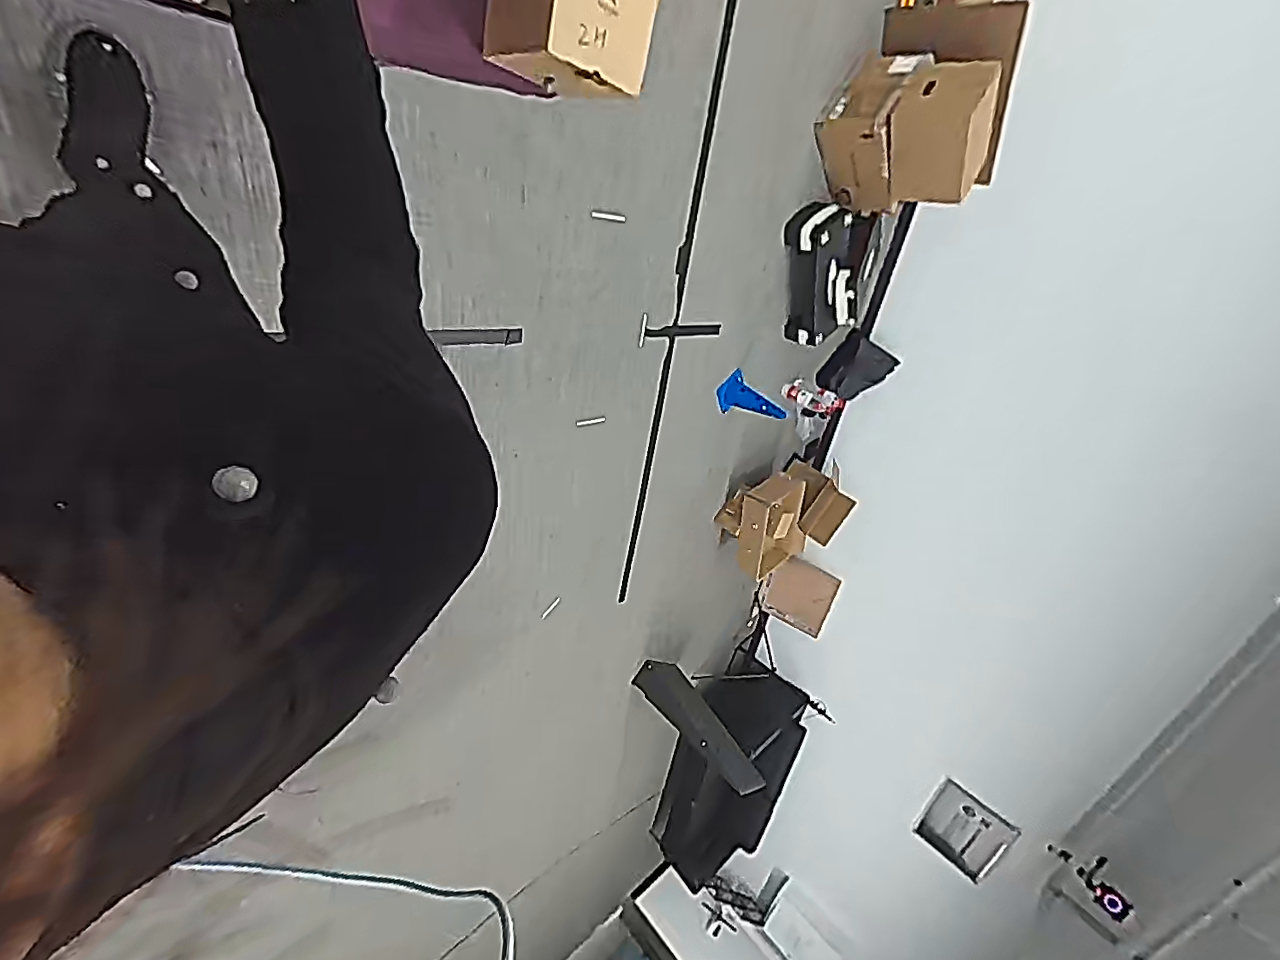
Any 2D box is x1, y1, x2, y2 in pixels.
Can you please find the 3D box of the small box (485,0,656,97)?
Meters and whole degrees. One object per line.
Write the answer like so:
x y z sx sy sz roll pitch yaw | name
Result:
-0.097 -0.663 0.750 0.168 0.176 0.179 -10 123 -44 | small box
